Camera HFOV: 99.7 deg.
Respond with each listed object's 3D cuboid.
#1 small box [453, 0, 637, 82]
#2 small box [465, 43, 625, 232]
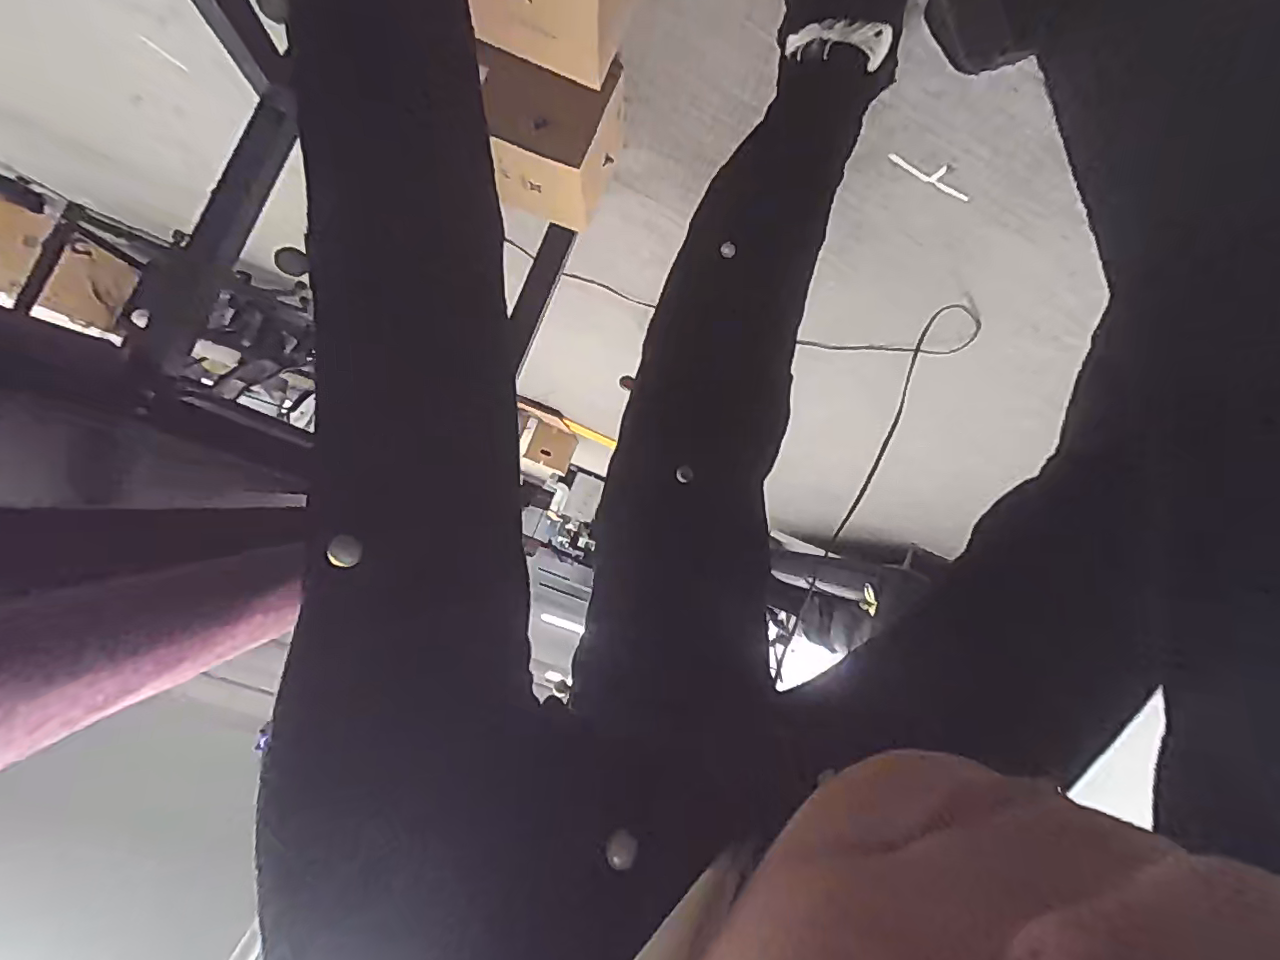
[{"bbox_3d":[-0.079,-0.538,0.500,0.168,0.176,0.179,23,174,-3],"label":"small box"},{"bbox_3d":[-0.131,-0.519,0.813,0.179,0.176,0.168,22,174,-1],"label":"small box"}]
